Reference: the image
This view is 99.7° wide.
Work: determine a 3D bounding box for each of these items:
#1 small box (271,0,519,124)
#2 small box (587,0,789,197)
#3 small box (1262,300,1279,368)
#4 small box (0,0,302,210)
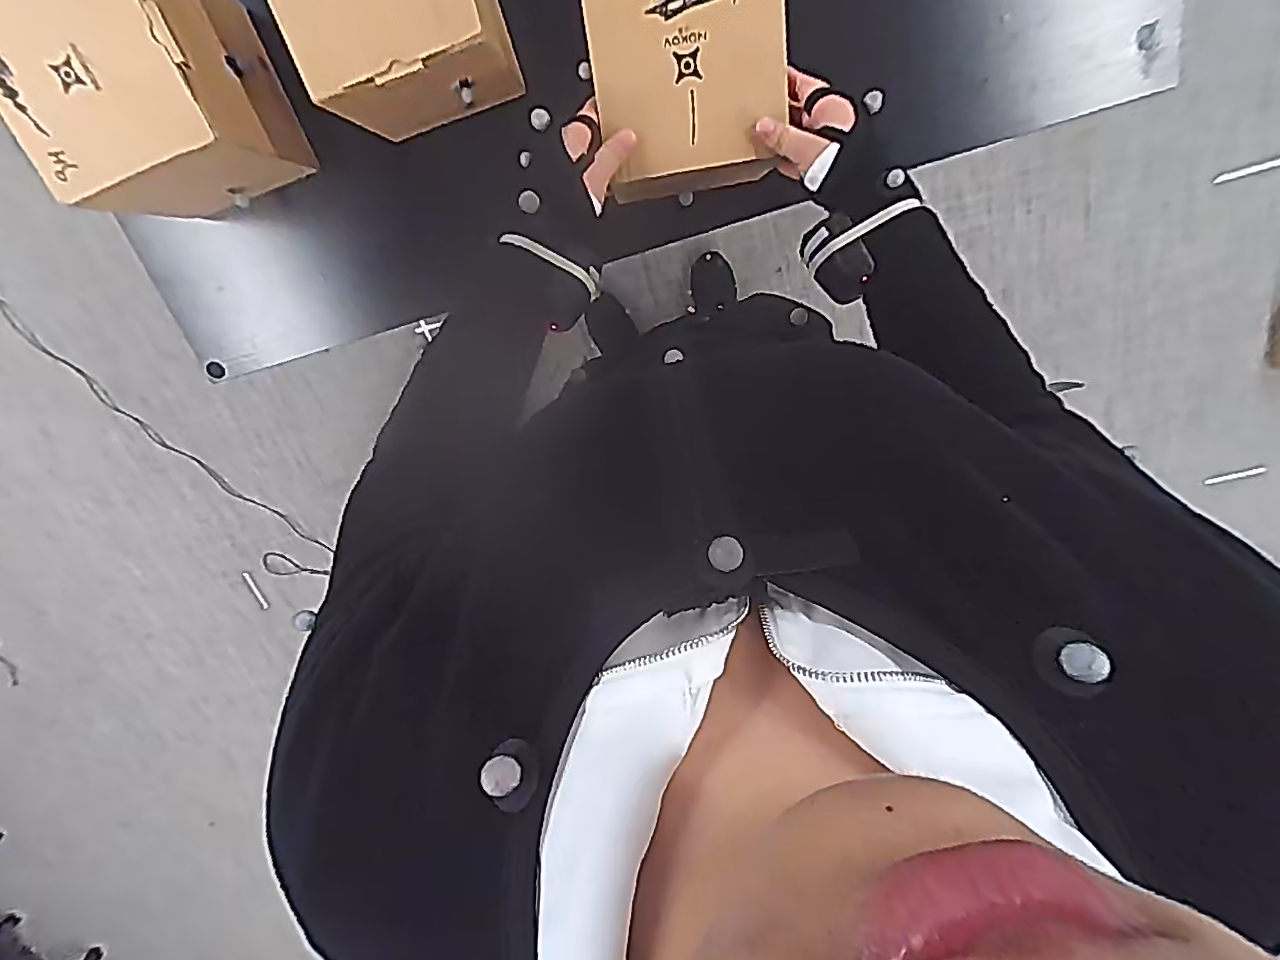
[{"bbox_3d":[-0.229,-0.460,0.504,0.168,0.176,0.179,-16,110,6],"label":"small box"},{"bbox_3d":[0.042,-0.391,0.526,0.168,0.176,0.179,-7,113,4],"label":"small box"},{"bbox_3d":[1.678,-0.361,1.303,0.168,0.176,0.179,-14,112,7],"label":"small box"},{"bbox_3d":[-0.478,-0.385,0.535,0.179,0.176,0.168,-17,111,6],"label":"small box"}]
